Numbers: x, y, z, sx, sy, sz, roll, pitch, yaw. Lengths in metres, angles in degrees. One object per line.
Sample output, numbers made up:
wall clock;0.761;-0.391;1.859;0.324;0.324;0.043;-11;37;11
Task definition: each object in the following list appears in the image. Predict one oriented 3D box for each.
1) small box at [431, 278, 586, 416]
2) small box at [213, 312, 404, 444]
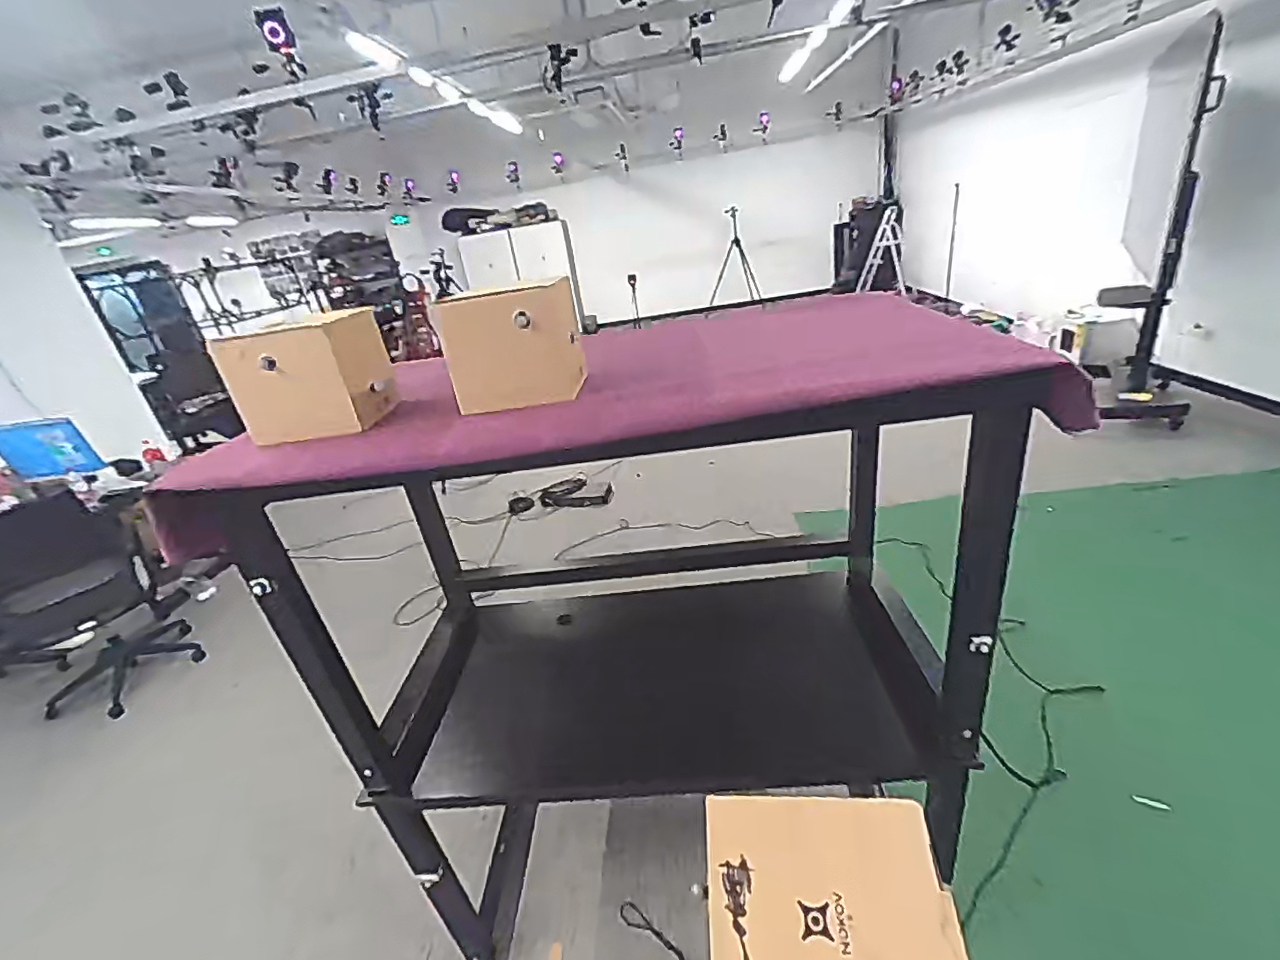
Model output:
small box;-0.190;-0.210;0.849;0.179;0.176;0.168;-7;24;7
small box;-0.518;-0.165;0.875;0.179;0.176;0.168;-7;25;3
